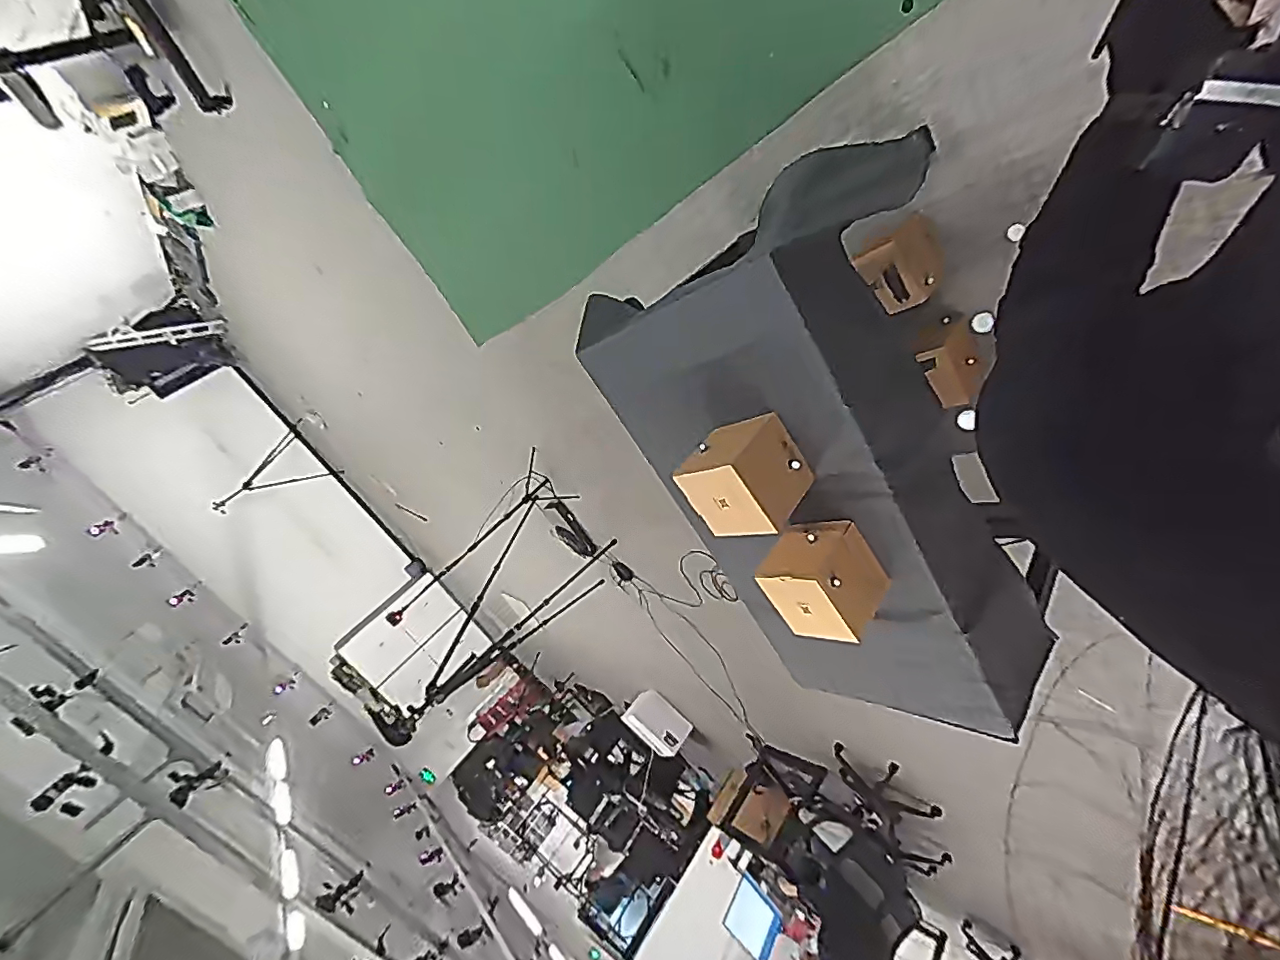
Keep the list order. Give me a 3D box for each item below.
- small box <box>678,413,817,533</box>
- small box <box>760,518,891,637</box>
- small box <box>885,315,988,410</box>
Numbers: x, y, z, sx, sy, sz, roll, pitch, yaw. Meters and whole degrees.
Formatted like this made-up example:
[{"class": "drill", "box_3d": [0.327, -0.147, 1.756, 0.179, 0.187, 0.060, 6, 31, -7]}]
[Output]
[{"class": "small box", "box_3d": [0.216, -0.011, 1.082, 0.168, 0.176, 0.179, 52, 150, -17]}, {"class": "small box", "box_3d": [0.395, 0.200, 1.139, 0.179, 0.176, 0.168, 52, 150, -15]}, {"class": "small box", "box_3d": [0.798, -0.320, 1.451, 0.179, 0.176, 0.168, 53, 150, -18]}]
